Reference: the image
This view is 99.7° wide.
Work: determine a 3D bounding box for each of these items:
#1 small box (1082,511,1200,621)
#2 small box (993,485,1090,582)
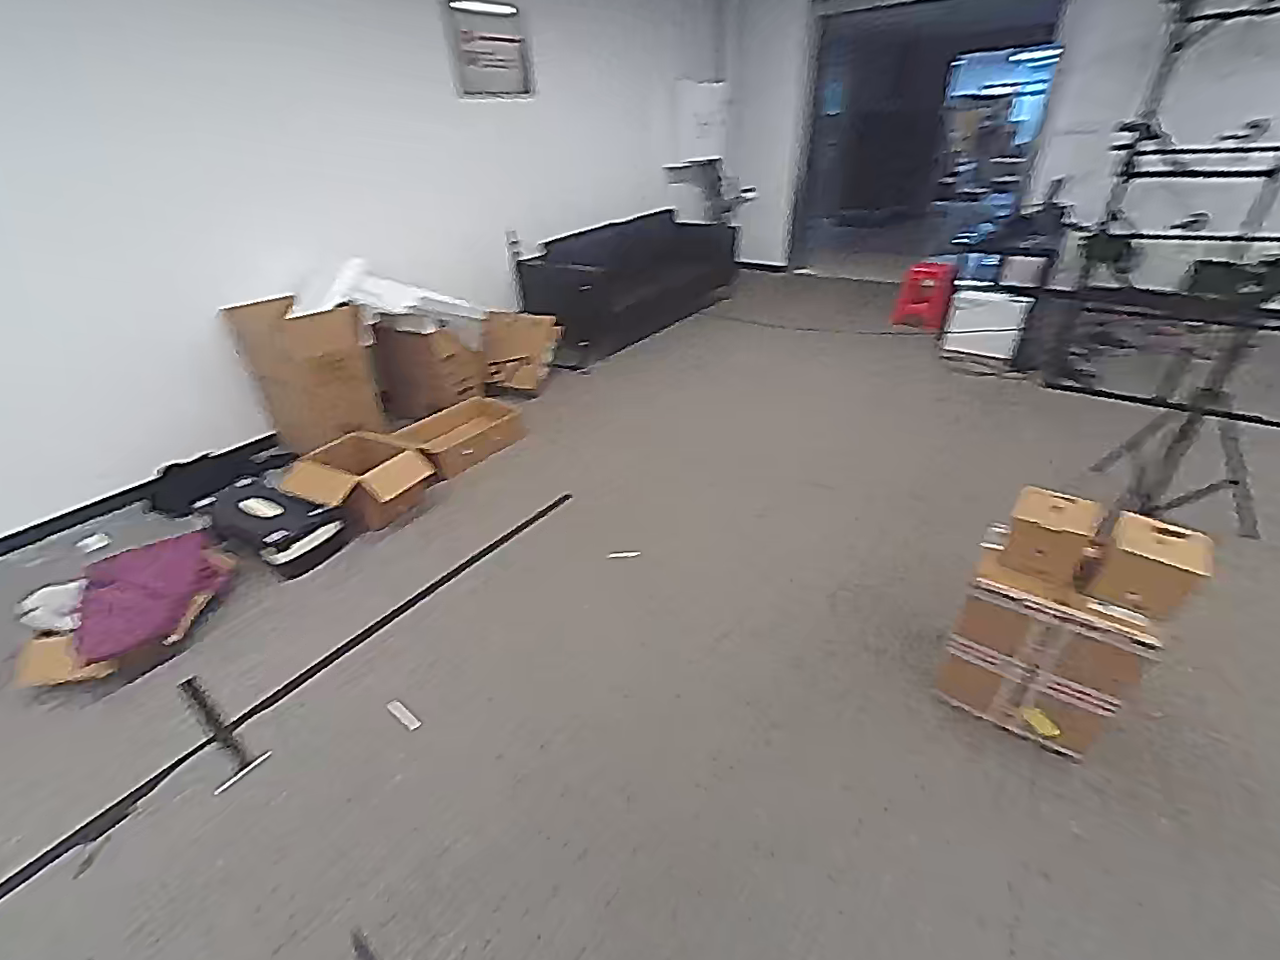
[{"bbox_3d":[1.243,0.212,1.349,0.168,0.176,0.179,23,43,32],"label":"small box"},{"bbox_3d":[1.081,0.145,1.463,0.168,0.176,0.179,21,42,35],"label":"small box"}]
